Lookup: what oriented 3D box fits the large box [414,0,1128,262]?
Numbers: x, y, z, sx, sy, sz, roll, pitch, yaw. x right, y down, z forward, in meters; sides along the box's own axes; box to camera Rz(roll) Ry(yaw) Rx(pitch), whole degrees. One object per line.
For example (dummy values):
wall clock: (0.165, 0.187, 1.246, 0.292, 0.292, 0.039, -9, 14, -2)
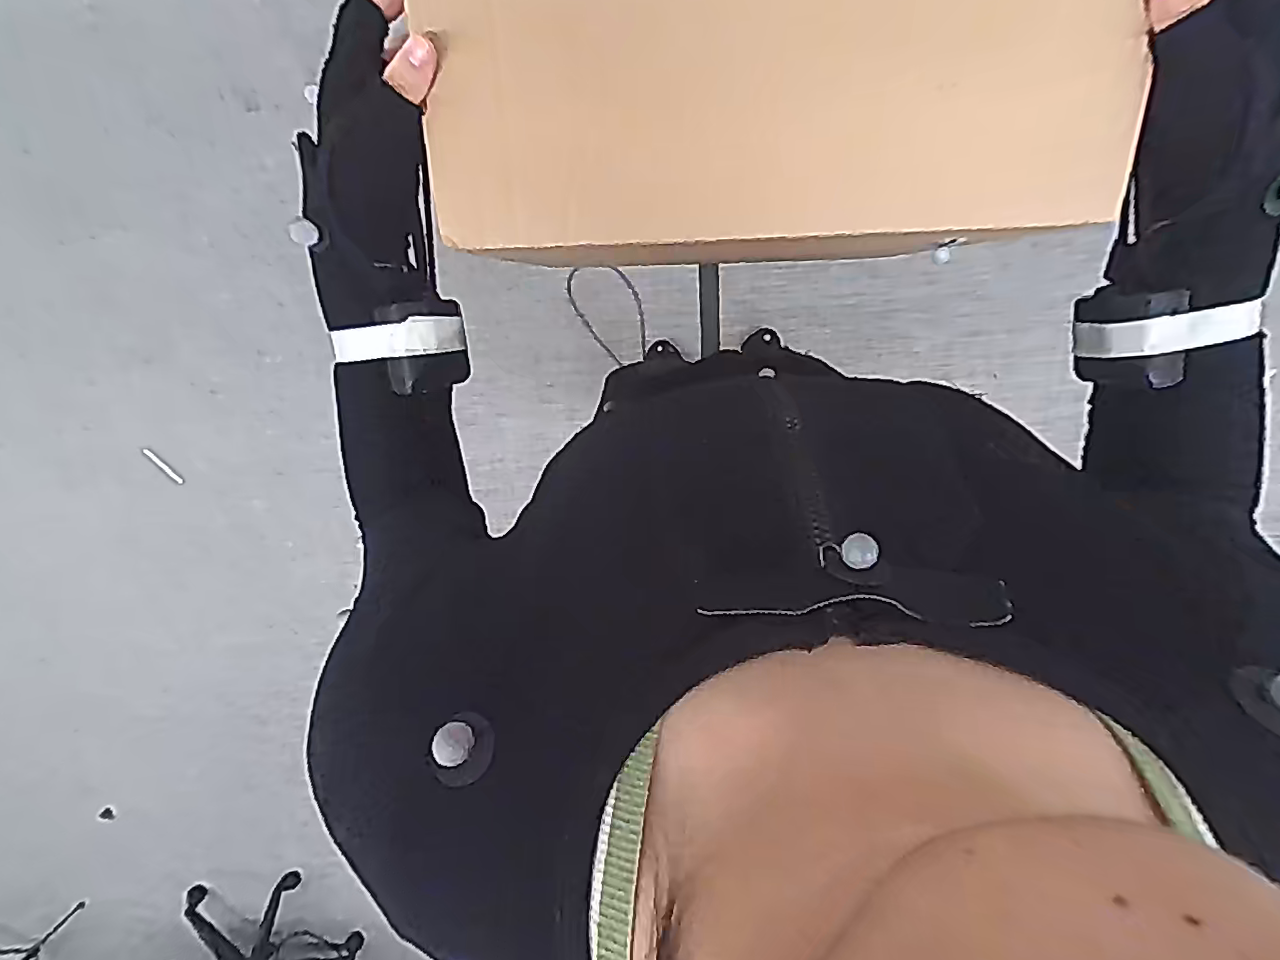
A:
large box: (0.074, -0.349, 0.428, 0.408, 0.320, 0.320, -1, 109, 2)
